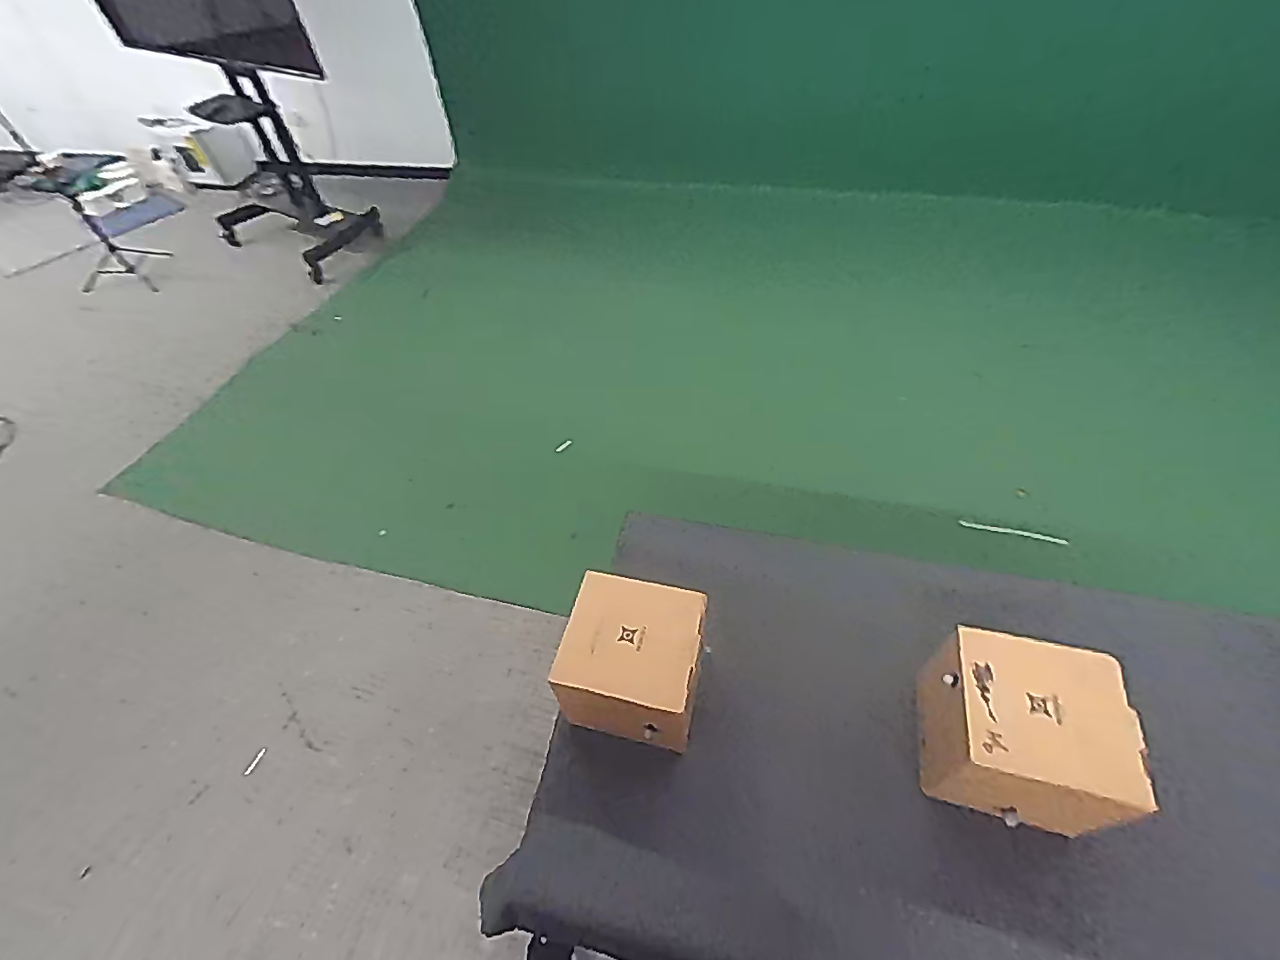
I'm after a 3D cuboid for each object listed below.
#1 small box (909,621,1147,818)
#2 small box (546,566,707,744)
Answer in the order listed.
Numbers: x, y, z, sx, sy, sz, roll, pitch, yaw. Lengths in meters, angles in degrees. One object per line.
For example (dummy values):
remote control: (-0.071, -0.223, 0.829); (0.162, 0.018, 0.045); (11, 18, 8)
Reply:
small box: (0.464, 0.307, 0.683); (0.179, 0.176, 0.168); (11, 51, 10)
small box: (-0.009, 0.246, 0.747); (0.179, 0.176, 0.168); (8, 49, 10)
